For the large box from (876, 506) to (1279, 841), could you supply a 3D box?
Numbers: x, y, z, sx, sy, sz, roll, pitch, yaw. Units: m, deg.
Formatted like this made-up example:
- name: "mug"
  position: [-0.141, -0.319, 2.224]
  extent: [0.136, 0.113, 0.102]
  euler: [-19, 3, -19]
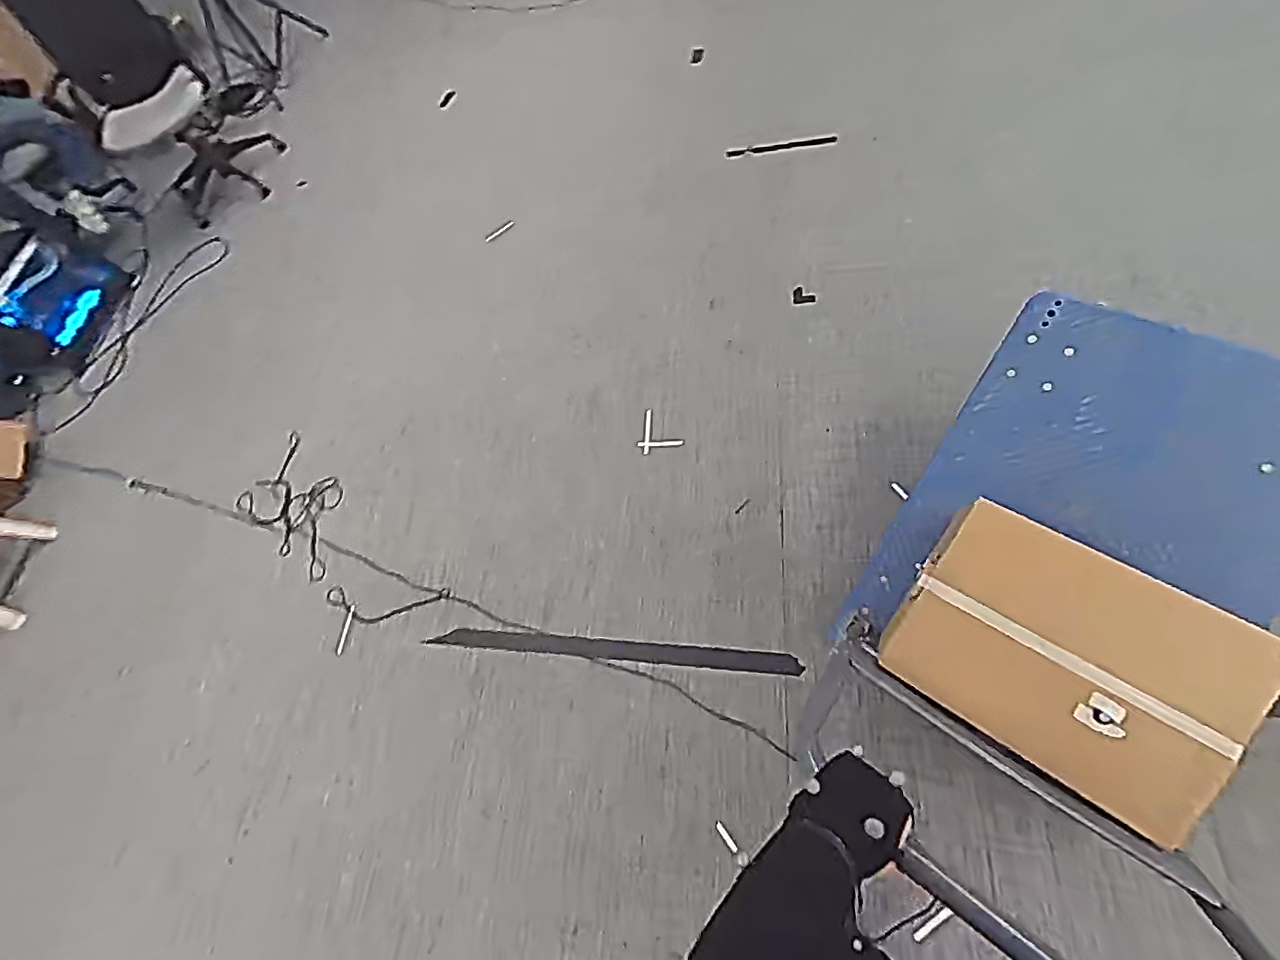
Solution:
- name: "large box"
  position: [0.671, 0.286, 0.929]
  extent: [0.408, 0.320, 0.320]
  euler: [32, 95, 25]
